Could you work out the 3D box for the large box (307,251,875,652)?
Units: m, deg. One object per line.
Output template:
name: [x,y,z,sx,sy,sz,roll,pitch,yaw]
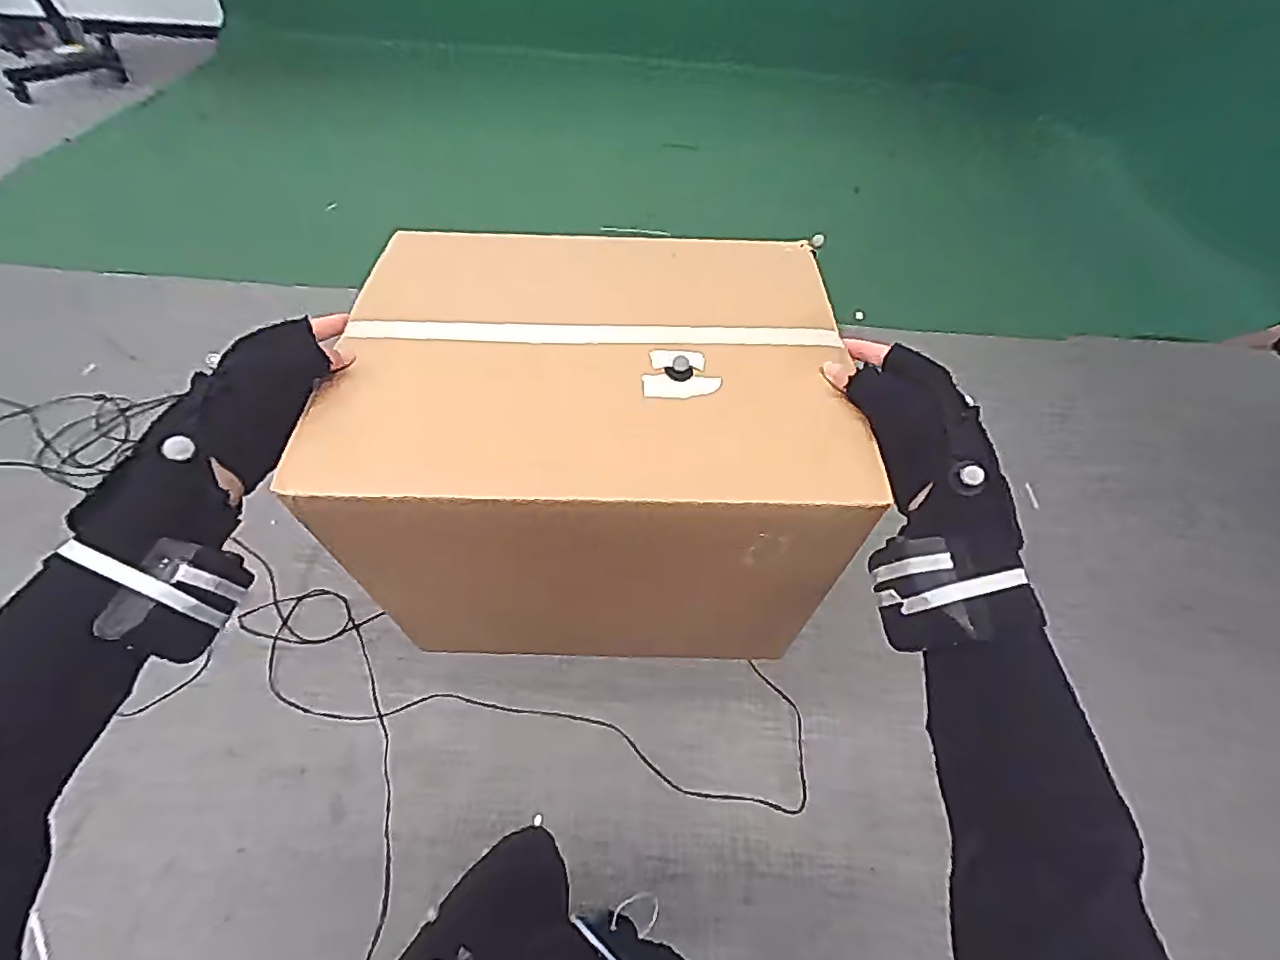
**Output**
large box: [-0.038,-0.018,0.580,0.408,0.320,0.320,2,54,-1]
